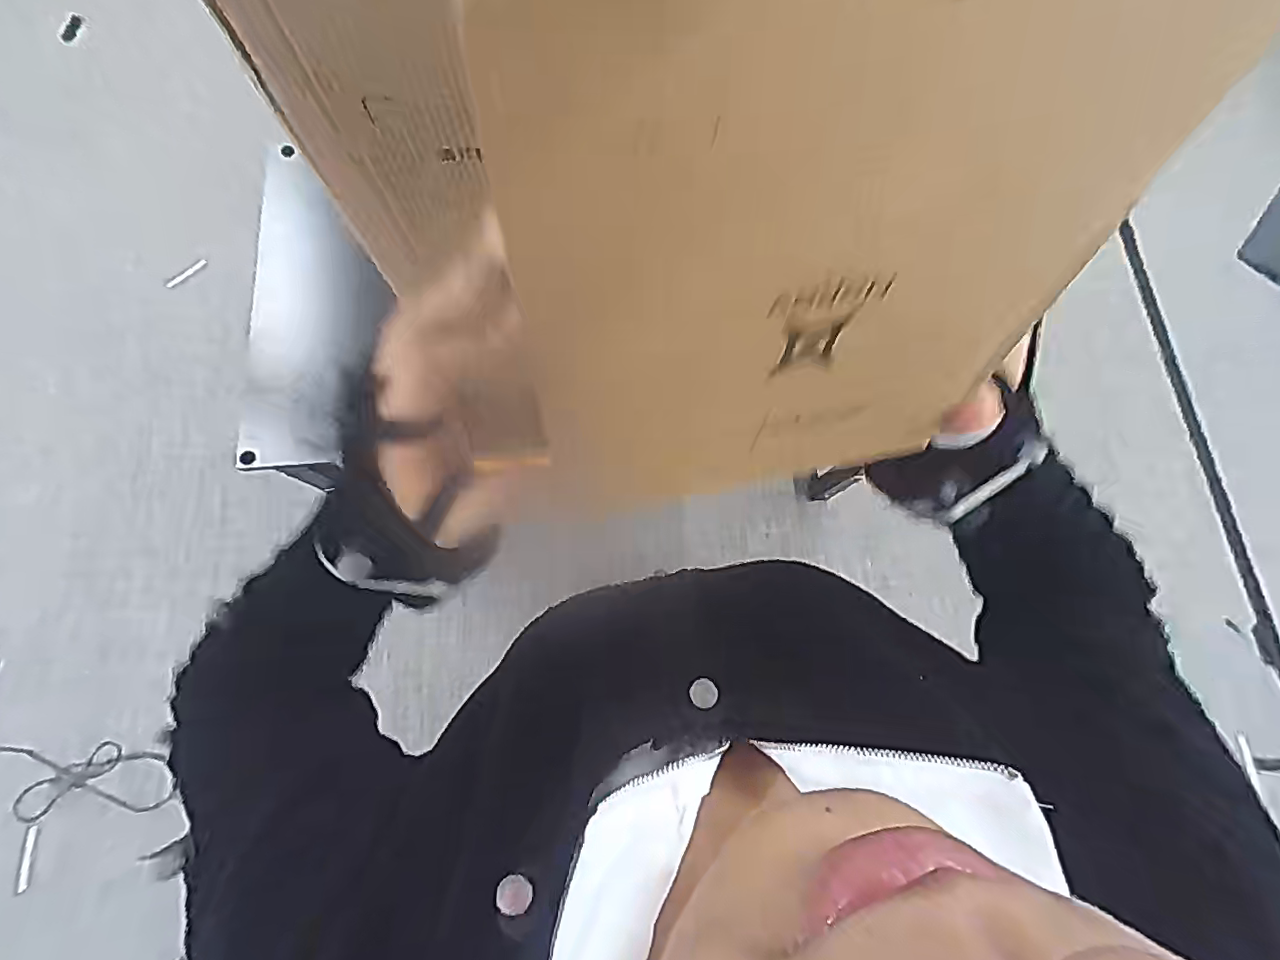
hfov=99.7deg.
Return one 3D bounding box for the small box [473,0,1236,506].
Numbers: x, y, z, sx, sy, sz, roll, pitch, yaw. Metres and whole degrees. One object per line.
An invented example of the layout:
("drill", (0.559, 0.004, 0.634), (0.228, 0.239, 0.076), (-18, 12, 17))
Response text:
("small box", (0.033, -0.117, 0.214), (0.168, 0.179, 0.176), (-11, 59, -8))
